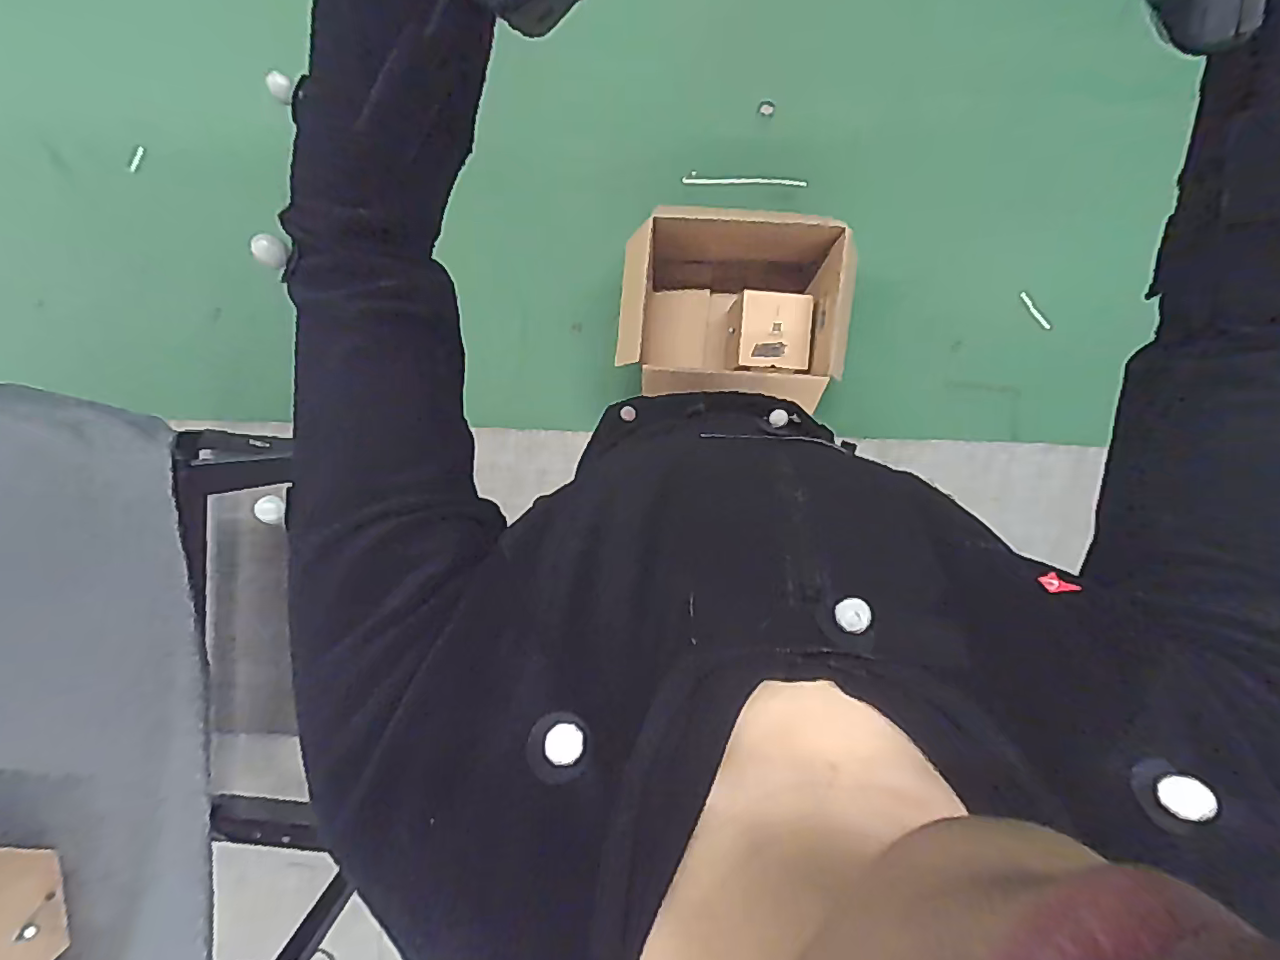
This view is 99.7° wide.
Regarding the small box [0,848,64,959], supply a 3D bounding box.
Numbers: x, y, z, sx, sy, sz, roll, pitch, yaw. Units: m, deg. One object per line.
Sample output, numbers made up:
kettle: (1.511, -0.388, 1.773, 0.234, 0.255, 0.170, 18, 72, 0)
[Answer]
small box: (-0.981, 0.650, 0.756, 0.179, 0.176, 0.168, 1, 96, 2)
